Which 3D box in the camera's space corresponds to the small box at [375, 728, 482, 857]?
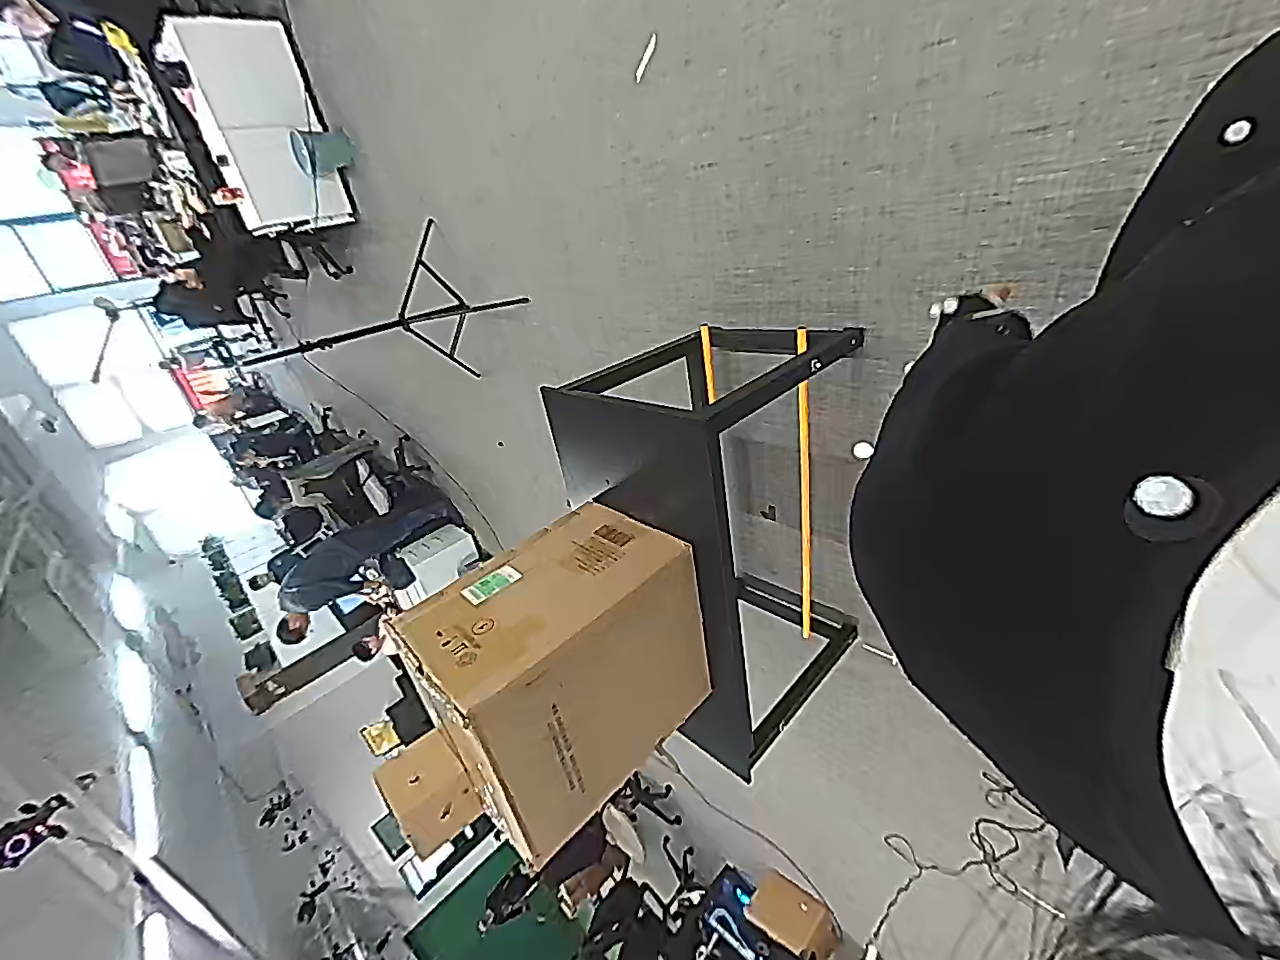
[{"bbox_3d":[-0.501,0.743,1.306,0.179,0.176,0.168,20,130,45],"label":"small box"}]
